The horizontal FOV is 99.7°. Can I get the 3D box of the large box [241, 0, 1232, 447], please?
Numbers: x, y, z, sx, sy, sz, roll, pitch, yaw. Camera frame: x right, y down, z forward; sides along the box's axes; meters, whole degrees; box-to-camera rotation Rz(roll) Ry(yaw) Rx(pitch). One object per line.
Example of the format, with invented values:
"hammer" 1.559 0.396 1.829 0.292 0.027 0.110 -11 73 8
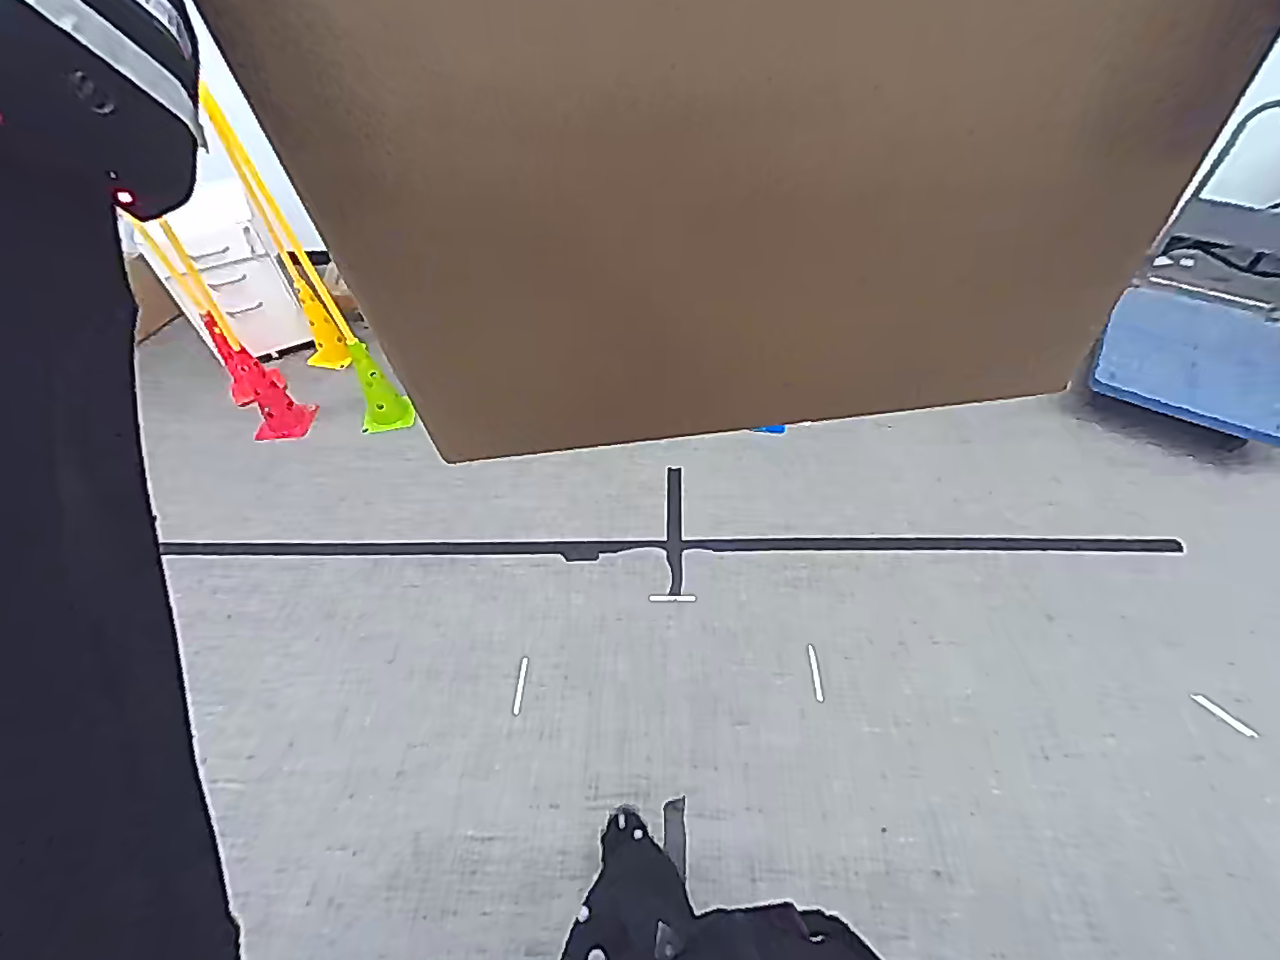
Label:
"large box" 0.041 -0.252 0.355 0.408 0.320 0.320 -7 48 1
